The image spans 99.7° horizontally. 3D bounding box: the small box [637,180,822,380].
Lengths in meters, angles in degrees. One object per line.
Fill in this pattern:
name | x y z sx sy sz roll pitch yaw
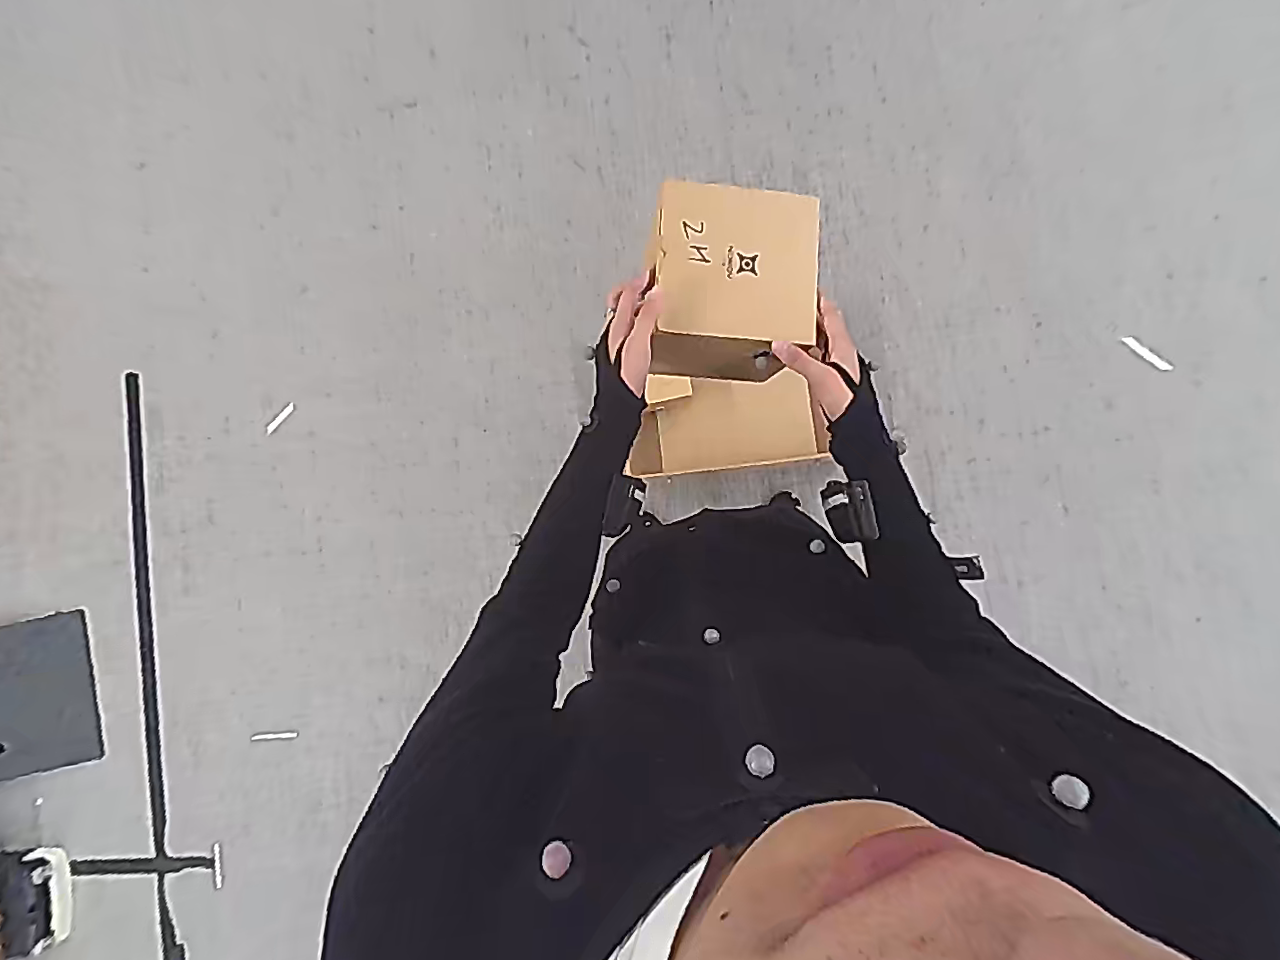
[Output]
small box | 0.095 -0.220 0.643 0.179 0.176 0.168 3 86 -5
